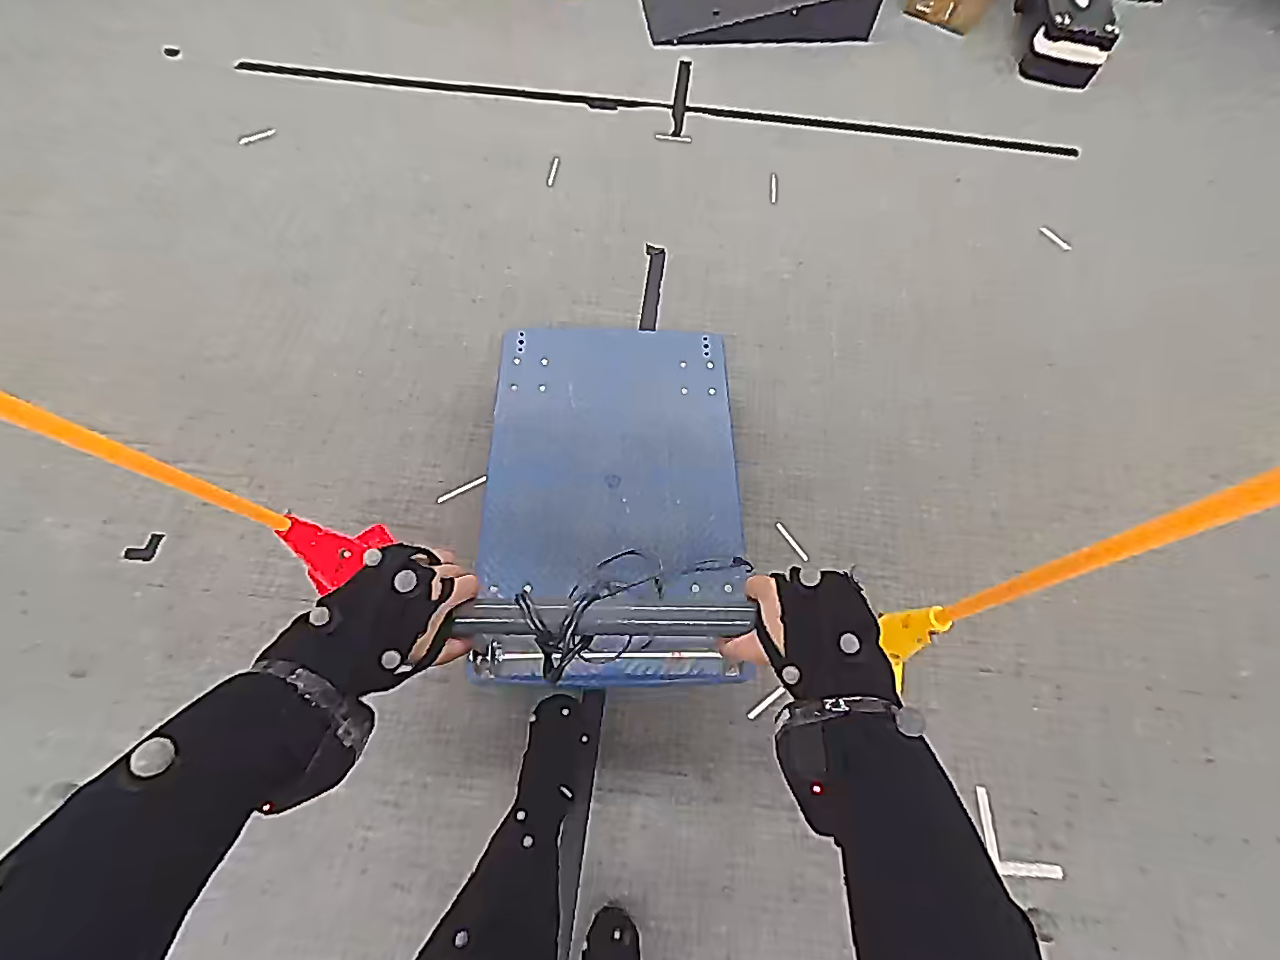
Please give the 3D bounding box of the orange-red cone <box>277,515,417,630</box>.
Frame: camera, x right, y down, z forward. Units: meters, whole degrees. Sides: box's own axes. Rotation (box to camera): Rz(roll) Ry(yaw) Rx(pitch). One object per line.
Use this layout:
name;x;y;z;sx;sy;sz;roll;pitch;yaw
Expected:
orange-red cone;-0.645;0.153;1.128;0.199;0.360;0.198;-34;72;-19
